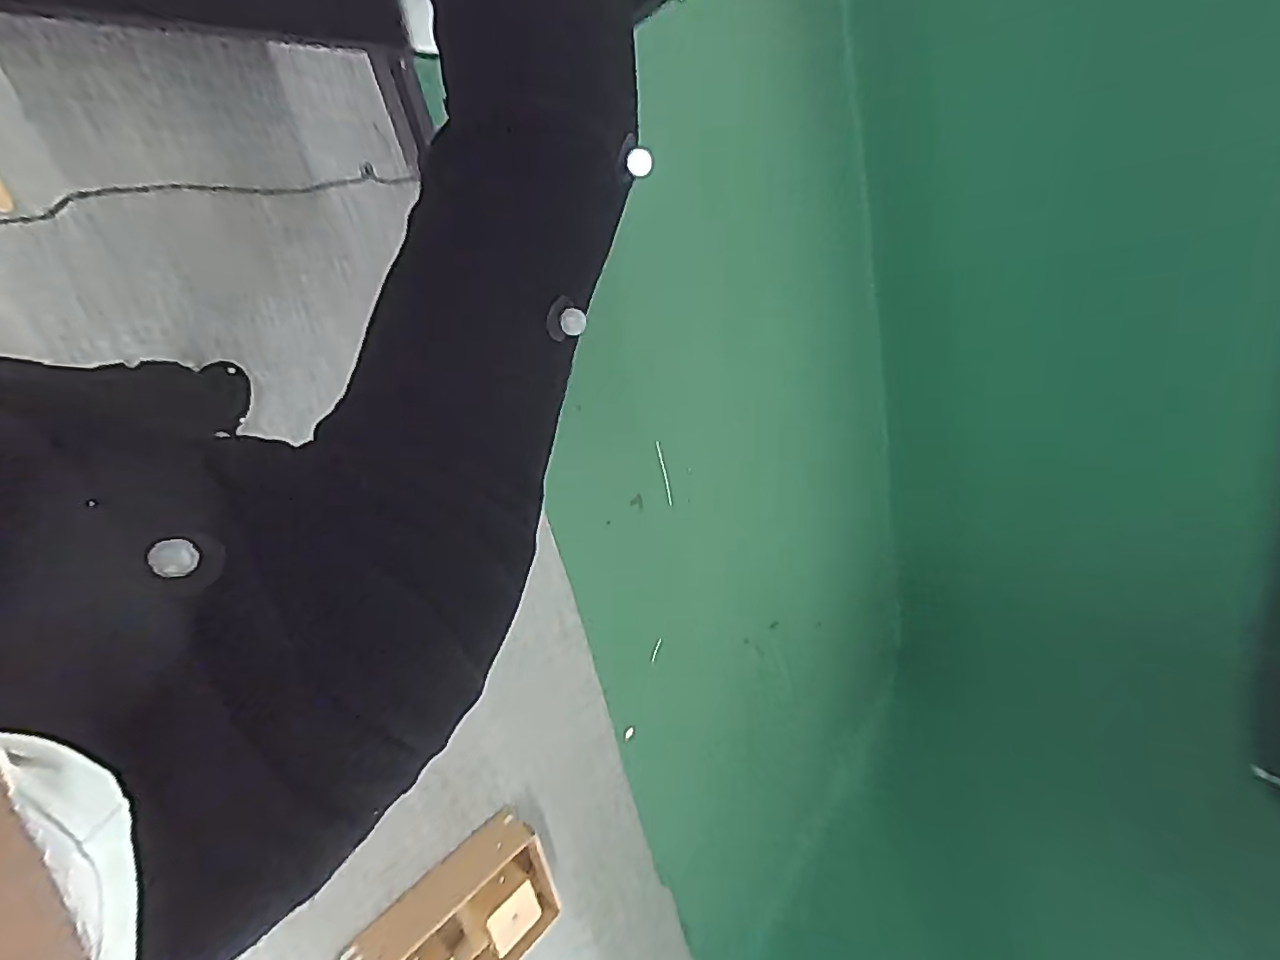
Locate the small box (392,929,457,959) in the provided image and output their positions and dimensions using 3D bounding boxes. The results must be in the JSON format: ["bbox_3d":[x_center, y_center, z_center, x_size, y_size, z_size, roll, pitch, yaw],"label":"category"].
[{"bbox_3d":[-0.654,1.533,1.652,0.168,0.176,0.179,-27,112,-41],"label":"small box"}]

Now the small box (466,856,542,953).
[{"bbox_3d":[-0.464,1.428,1.838,0.168,0.176,0.179,-28,113,-40],"label":"small box"}]
